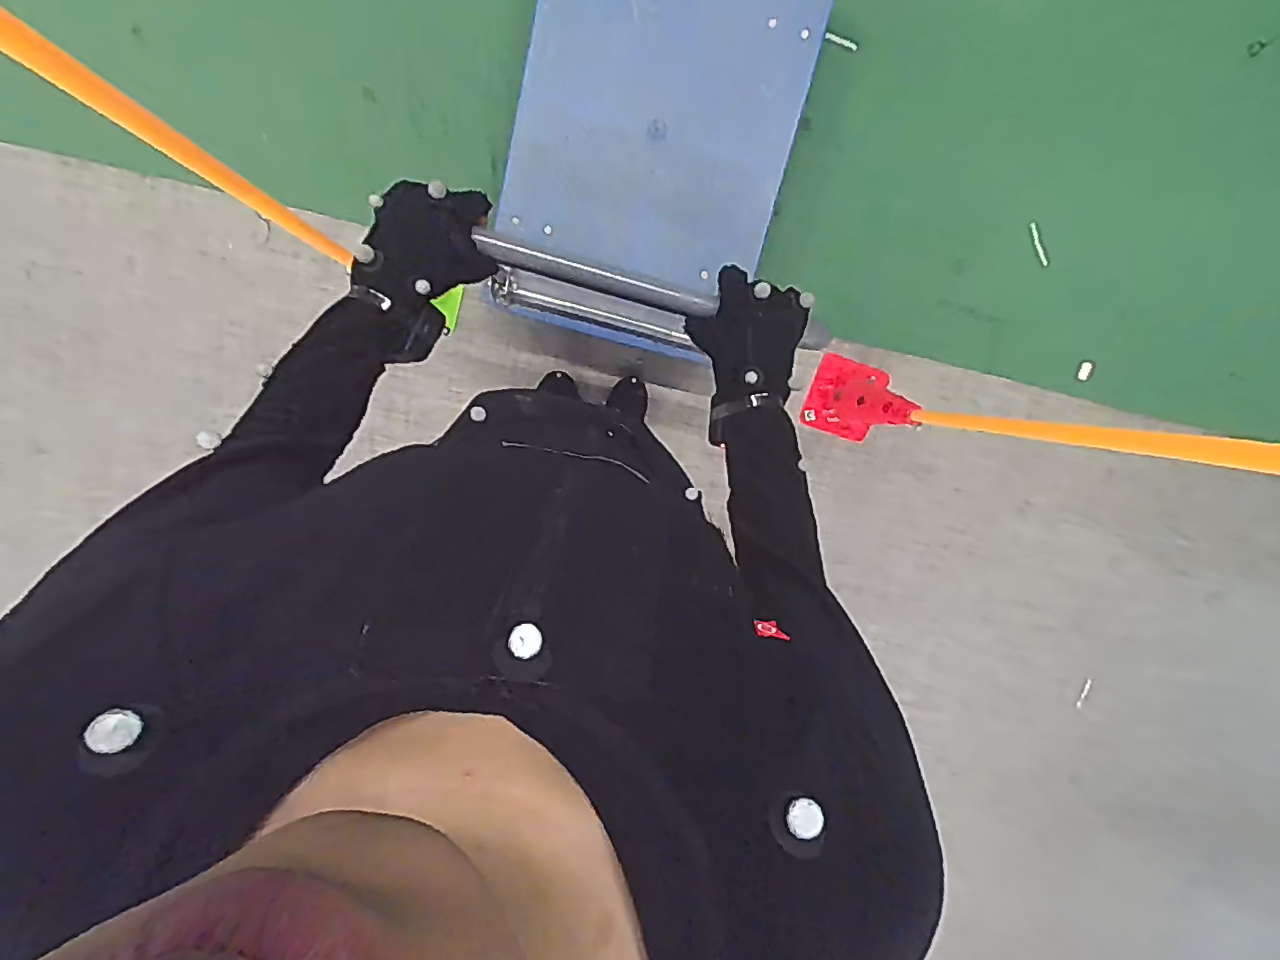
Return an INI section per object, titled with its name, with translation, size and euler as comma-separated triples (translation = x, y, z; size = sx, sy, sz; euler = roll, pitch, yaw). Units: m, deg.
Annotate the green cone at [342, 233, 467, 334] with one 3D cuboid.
[green cone]
translation = -0.536, -0.447, 1.174
size = 0.202, 0.368, 0.200
euler = 17, 102, -6
